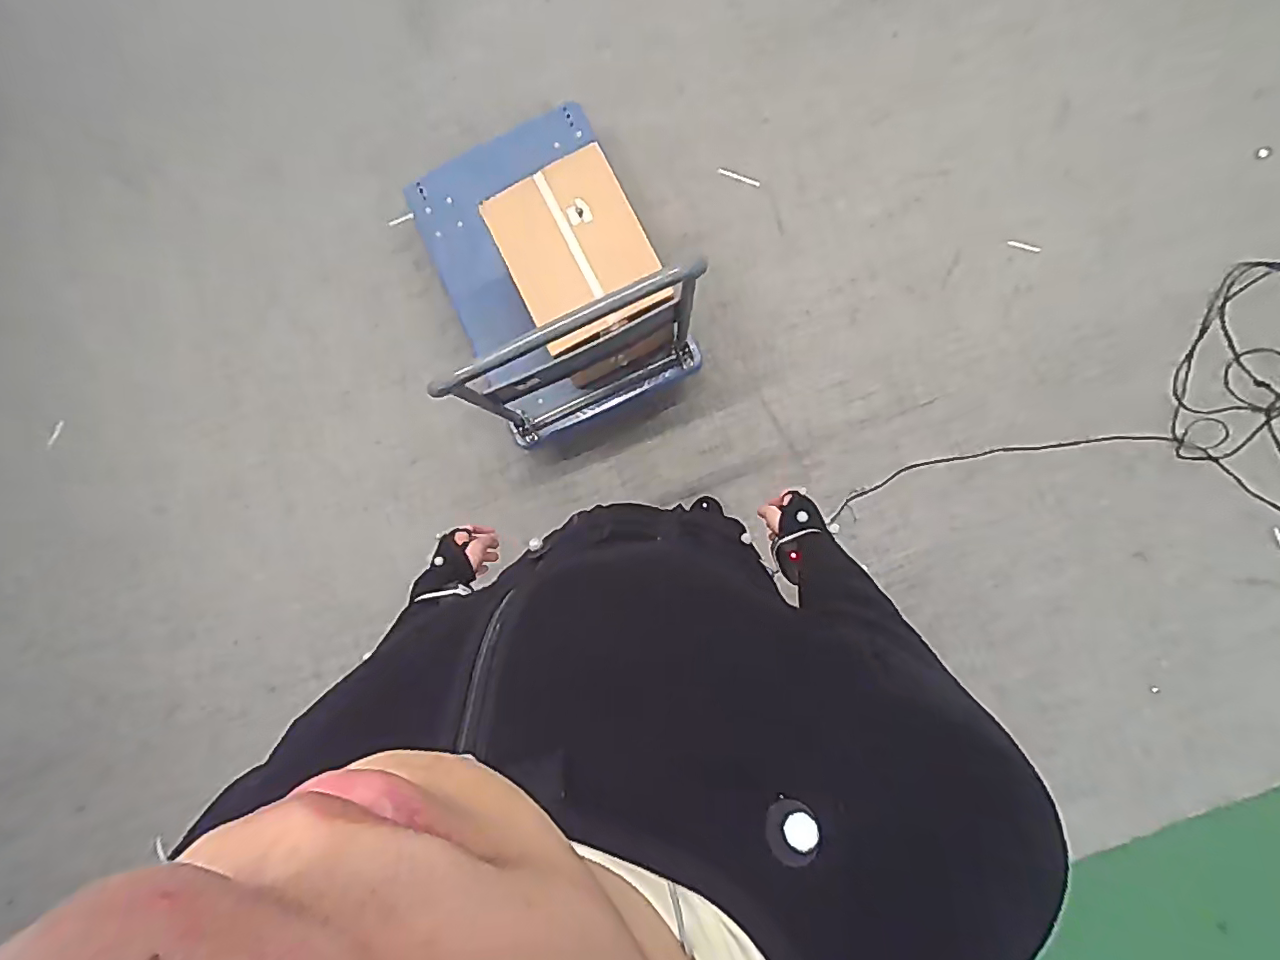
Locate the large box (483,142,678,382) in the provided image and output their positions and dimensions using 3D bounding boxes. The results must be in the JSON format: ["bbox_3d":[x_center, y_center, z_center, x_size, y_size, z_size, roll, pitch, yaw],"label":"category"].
[{"bbox_3d":[-0.128,-0.521,1.370,0.320,0.320,0.408,-26,85,2],"label":"large box"}]
